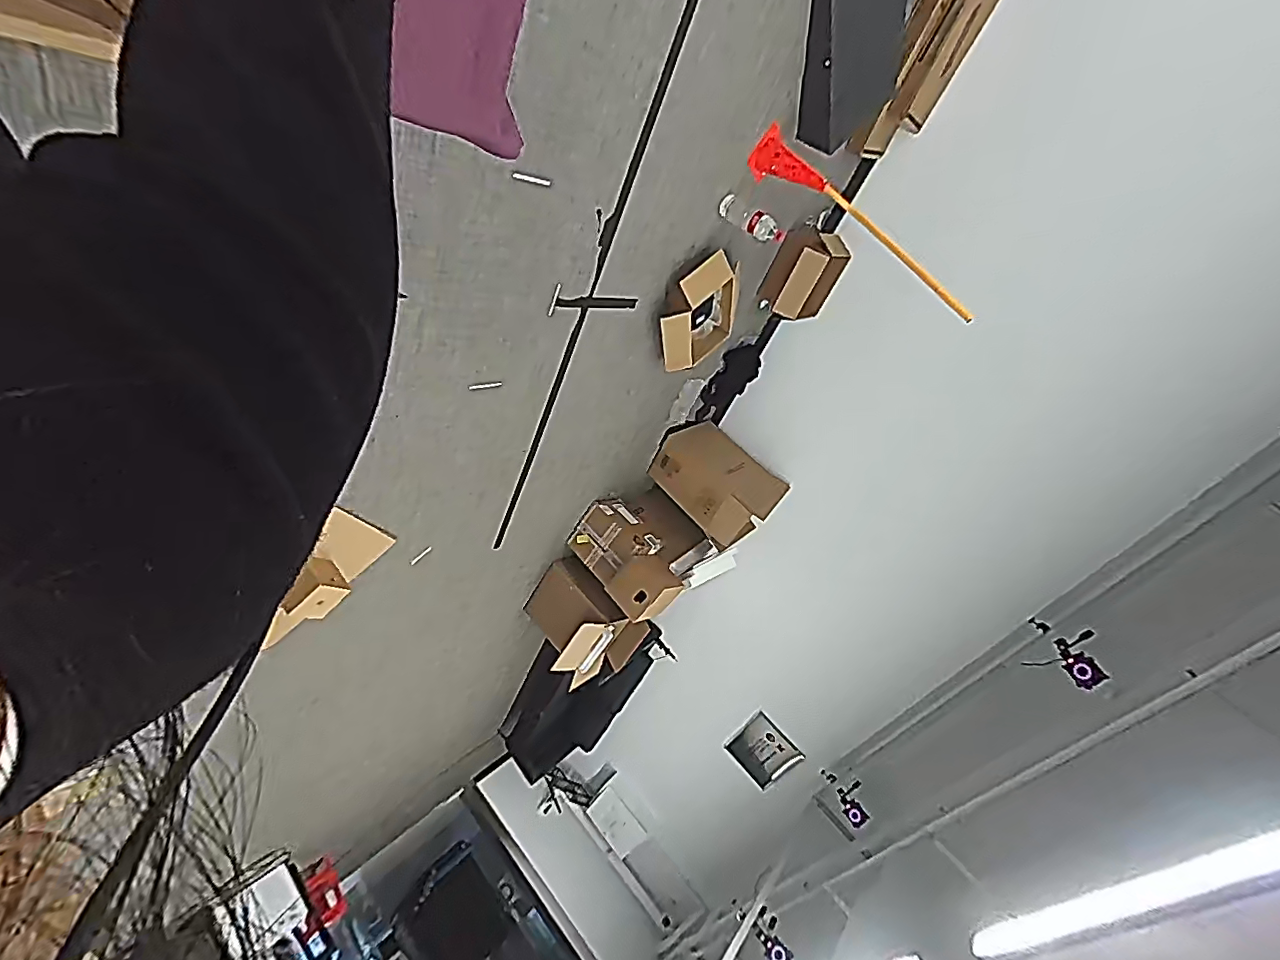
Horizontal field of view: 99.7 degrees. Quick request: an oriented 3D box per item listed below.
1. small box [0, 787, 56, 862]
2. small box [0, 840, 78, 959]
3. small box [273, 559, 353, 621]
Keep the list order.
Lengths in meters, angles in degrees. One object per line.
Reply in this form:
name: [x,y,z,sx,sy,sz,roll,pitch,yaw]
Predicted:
small box: [-1.697,0.961,1.438,0.168,0.176,0.179,-16,143,-53]
small box: [-1.589,1.072,1.384,0.168,0.176,0.179,-18,144,-50]
small box: [-1.280,0.430,2.117,0.168,0.176,0.179,-45,158,-5]
